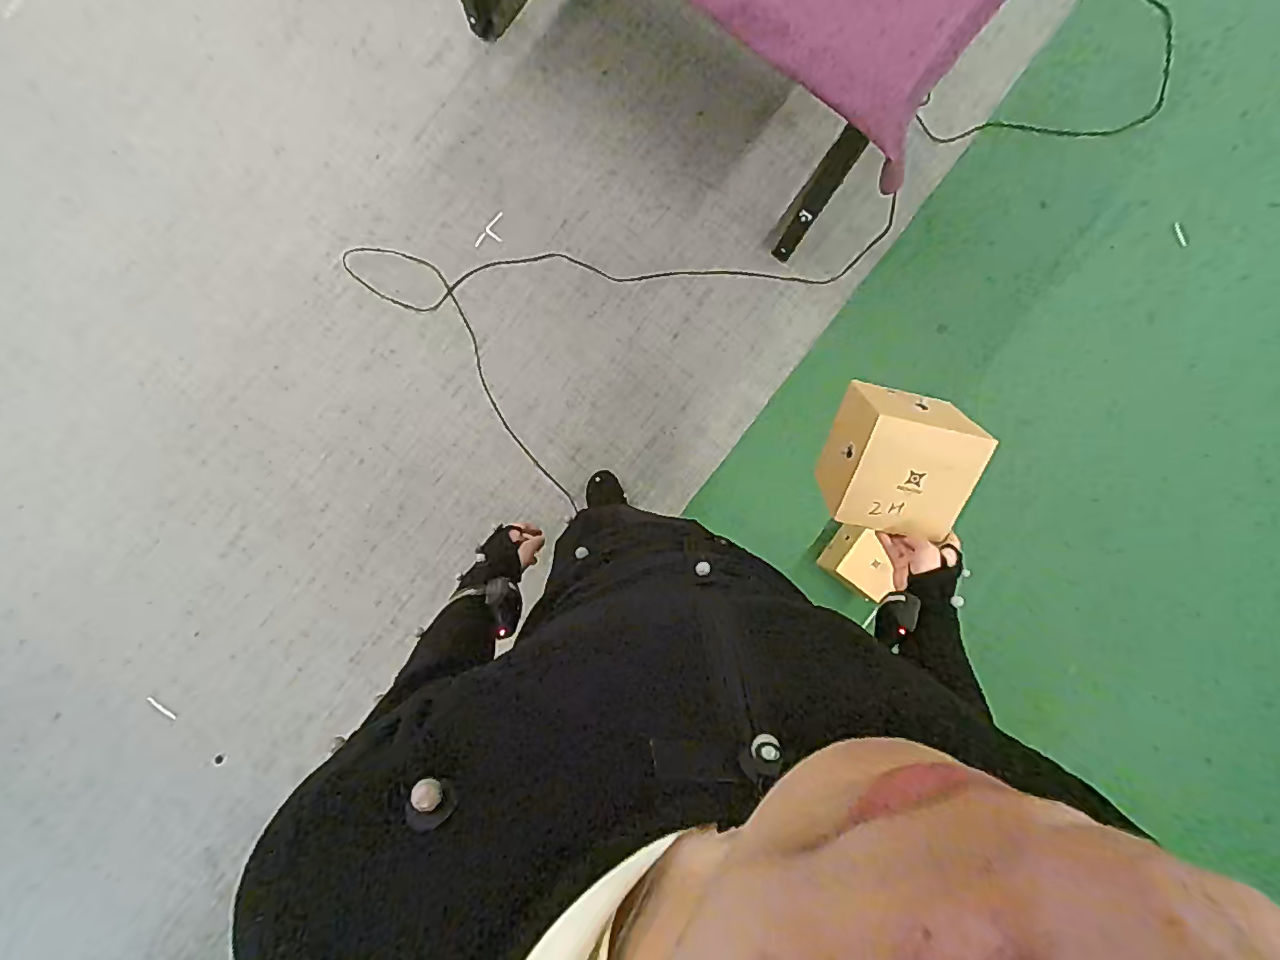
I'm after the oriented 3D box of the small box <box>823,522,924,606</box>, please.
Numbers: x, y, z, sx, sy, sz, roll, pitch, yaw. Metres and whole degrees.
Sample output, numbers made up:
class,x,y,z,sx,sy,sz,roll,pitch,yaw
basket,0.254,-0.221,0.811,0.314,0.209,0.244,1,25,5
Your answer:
class,x,y,z,sx,sy,sz,roll,pitch,yaw
small box,0.661,0.233,1.559,0.179,0.176,0.168,36,89,-1

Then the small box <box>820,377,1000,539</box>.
class,x,y,z,sx,sy,sz,roll,pitch,yaw
small box,0.389,-0.041,0.822,0.168,0.176,0.179,13,118,1
